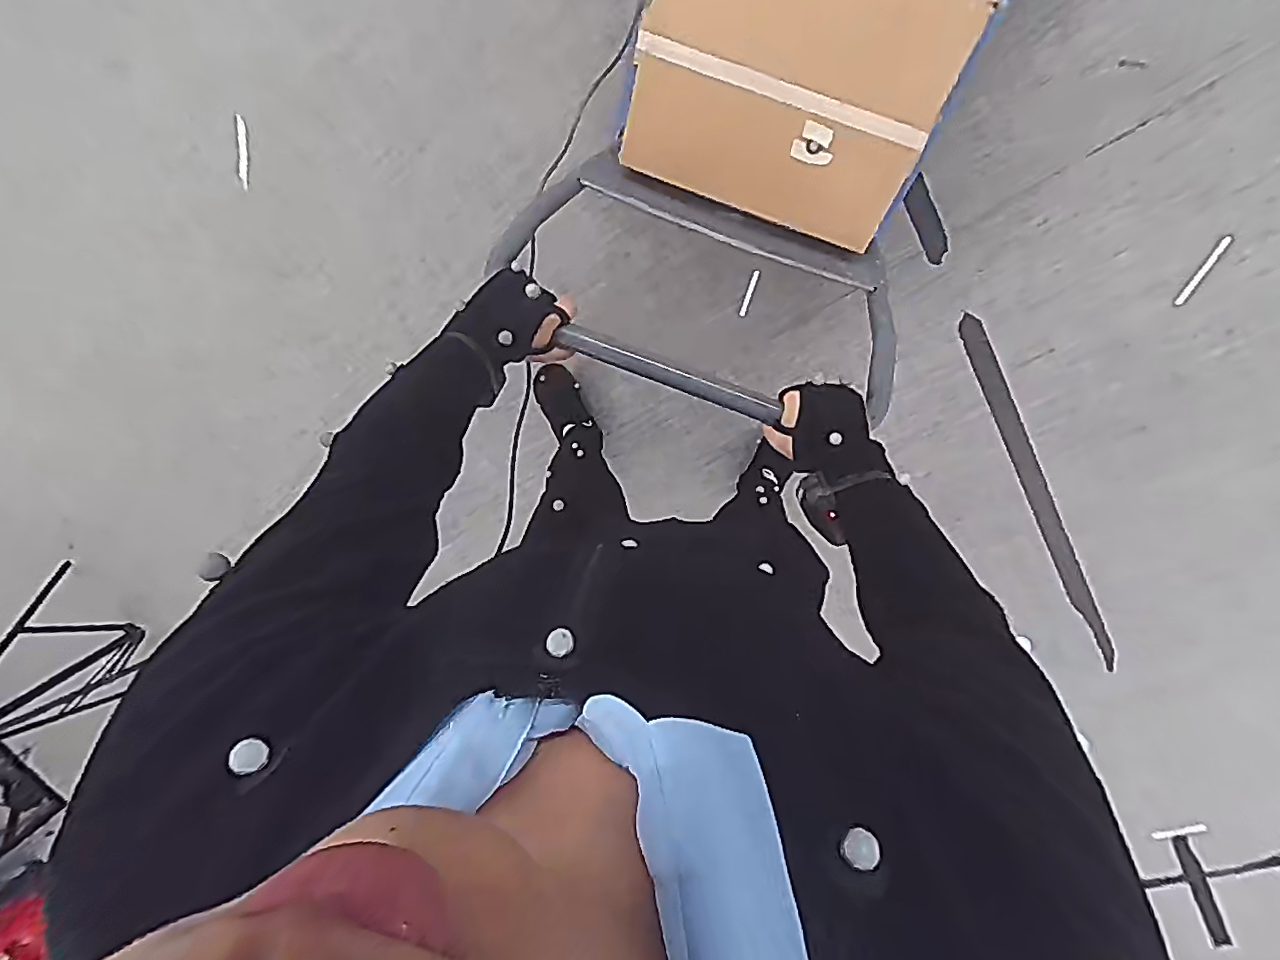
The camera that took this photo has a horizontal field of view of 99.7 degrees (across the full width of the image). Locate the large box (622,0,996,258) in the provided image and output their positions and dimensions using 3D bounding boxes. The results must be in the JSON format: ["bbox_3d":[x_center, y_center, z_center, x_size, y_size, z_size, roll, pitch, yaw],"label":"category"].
[{"bbox_3d":[0.226,-0.605,0.845,0.408,0.320,0.320,21,132,0],"label":"large box"}]
